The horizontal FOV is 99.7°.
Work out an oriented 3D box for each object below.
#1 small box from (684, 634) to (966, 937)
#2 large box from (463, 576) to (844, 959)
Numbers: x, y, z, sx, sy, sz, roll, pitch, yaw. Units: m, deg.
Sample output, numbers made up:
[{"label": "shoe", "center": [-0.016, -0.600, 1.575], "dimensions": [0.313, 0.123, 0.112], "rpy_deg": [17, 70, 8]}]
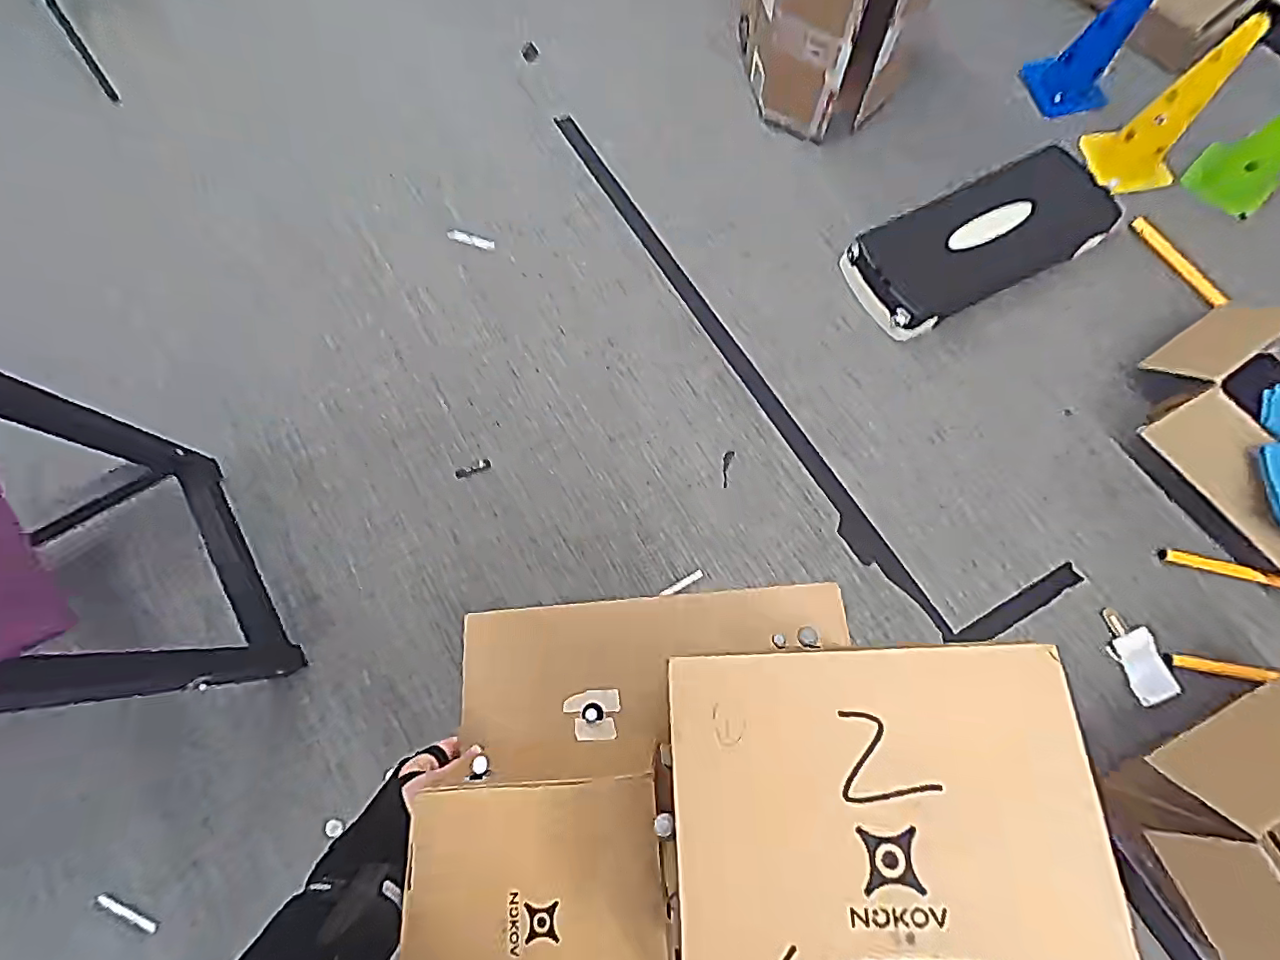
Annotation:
[{"label": "small box", "center": [0.120, 0.220, 0.432], "dimensions": [0.168, 0.176, 0.179], "rpy_deg": [-4, 72, 5]}, {"label": "large box", "center": [0.036, 0.313, 0.669], "dimensions": [0.408, 0.320, 0.320], "rpy_deg": [-7, 71, 3]}]
